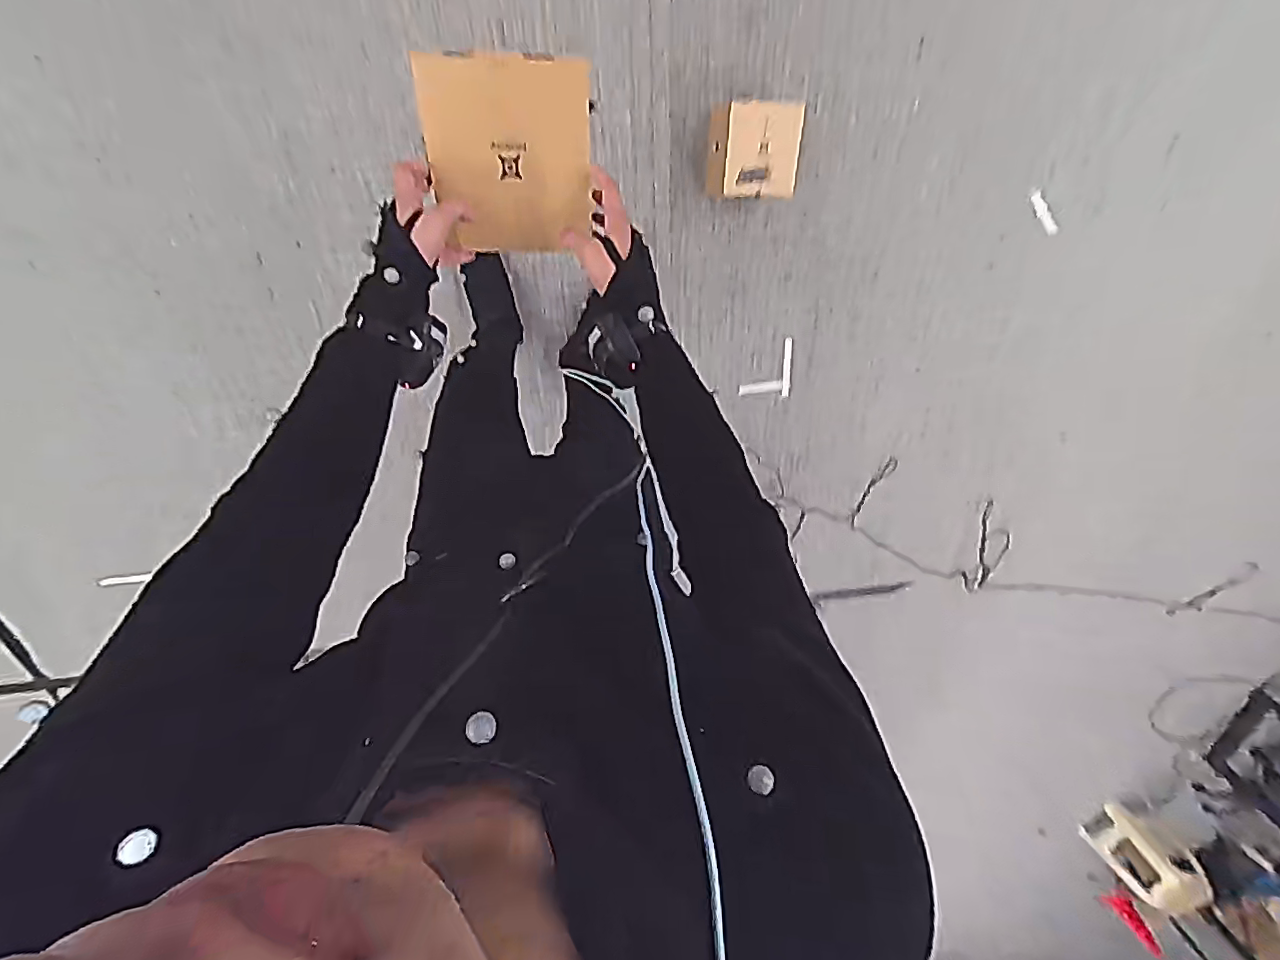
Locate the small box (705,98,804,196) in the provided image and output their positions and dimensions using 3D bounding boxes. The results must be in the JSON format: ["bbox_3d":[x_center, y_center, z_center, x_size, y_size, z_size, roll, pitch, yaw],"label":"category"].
[{"bbox_3d":[0.250,-0.753,1.233,0.168,0.176,0.179,-3,119,-8],"label":"small box"}]

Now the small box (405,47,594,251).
[{"bbox_3d":[-0.138,-0.369,0.606,0.168,0.176,0.179,-2,126,-3],"label":"small box"}]
